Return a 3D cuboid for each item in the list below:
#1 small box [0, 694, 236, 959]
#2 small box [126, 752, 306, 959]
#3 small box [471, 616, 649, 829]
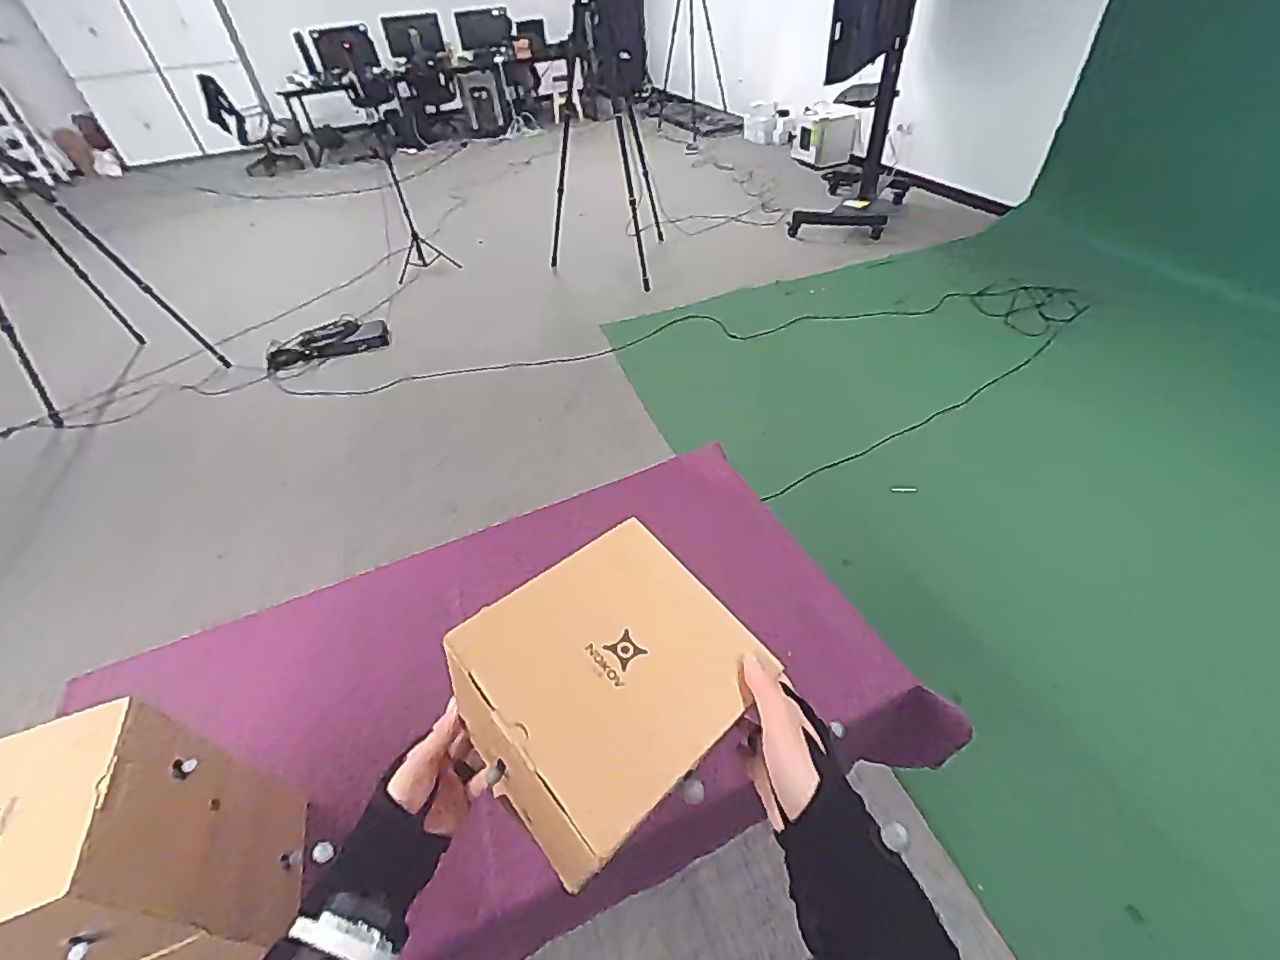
[{"bbox_3d":[-0.515,0.332,0.491,0.179,0.176,0.168,-17,44,-11],"label":"small box"},{"bbox_3d":[-0.502,0.449,0.606,0.168,0.176,0.179,-18,45,-12],"label":"small box"},{"bbox_3d":[-0.099,0.314,0.700,0.179,0.176,0.168,-18,45,-13],"label":"small box"}]
